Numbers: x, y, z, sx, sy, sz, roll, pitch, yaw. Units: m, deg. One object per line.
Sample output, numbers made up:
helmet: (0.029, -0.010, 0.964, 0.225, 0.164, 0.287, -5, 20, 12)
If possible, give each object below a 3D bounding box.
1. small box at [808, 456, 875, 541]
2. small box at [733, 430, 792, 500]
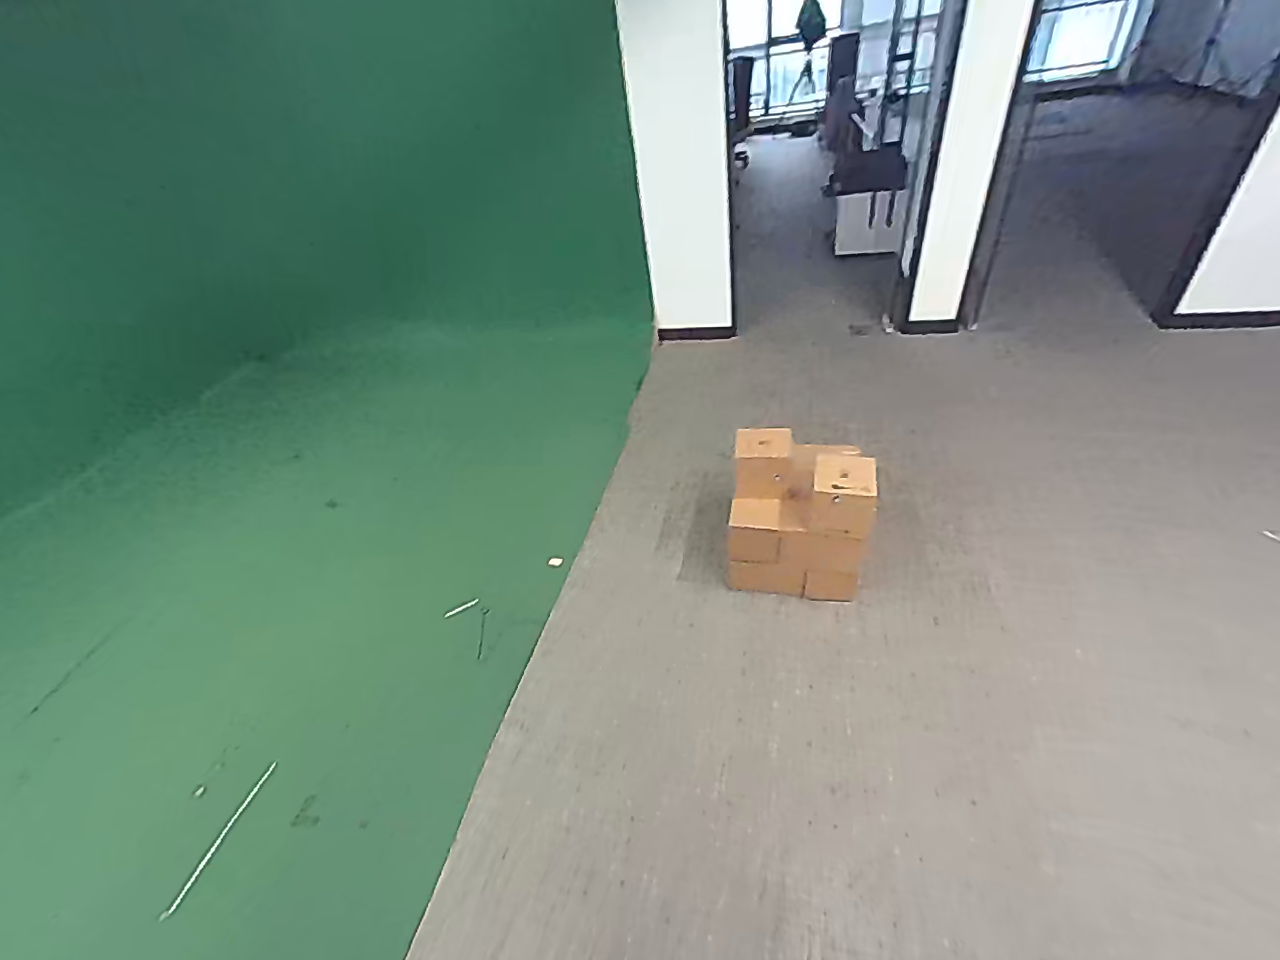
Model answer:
small box: (0.589, 0.052, 1.588, 0.168, 0.176, 0.179, 6, 40, 18)
small box: (0.399, -0.047, 1.758, 0.179, 0.176, 0.168, 0, 38, 14)
